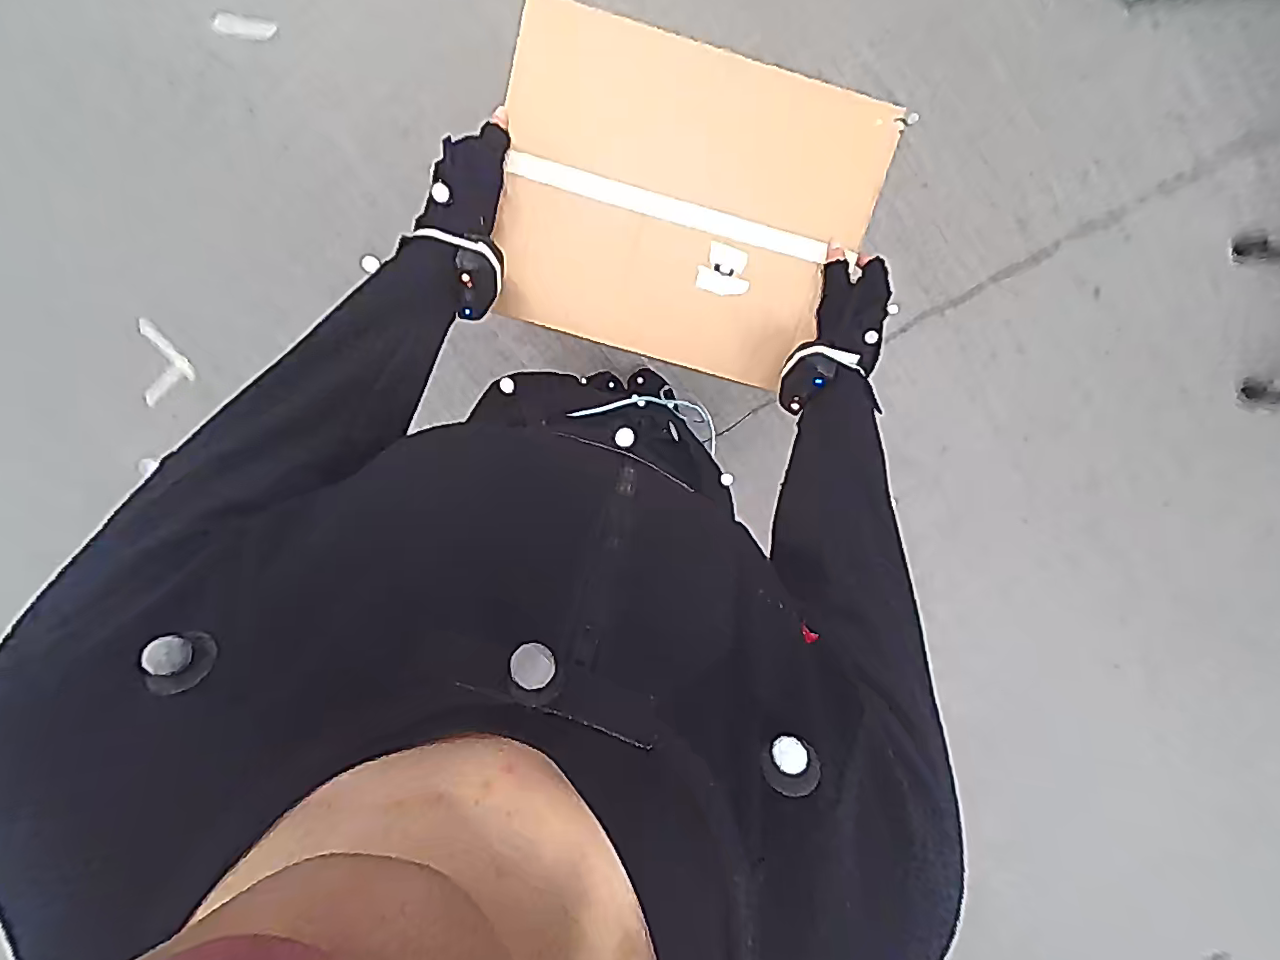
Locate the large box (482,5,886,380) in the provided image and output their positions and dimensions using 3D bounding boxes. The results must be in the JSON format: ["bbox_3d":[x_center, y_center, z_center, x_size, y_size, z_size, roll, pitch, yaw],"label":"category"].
[{"bbox_3d":[0.037,-0.343,0.748,0.408,0.320,0.320,13,106,-4],"label":"large box"}]
